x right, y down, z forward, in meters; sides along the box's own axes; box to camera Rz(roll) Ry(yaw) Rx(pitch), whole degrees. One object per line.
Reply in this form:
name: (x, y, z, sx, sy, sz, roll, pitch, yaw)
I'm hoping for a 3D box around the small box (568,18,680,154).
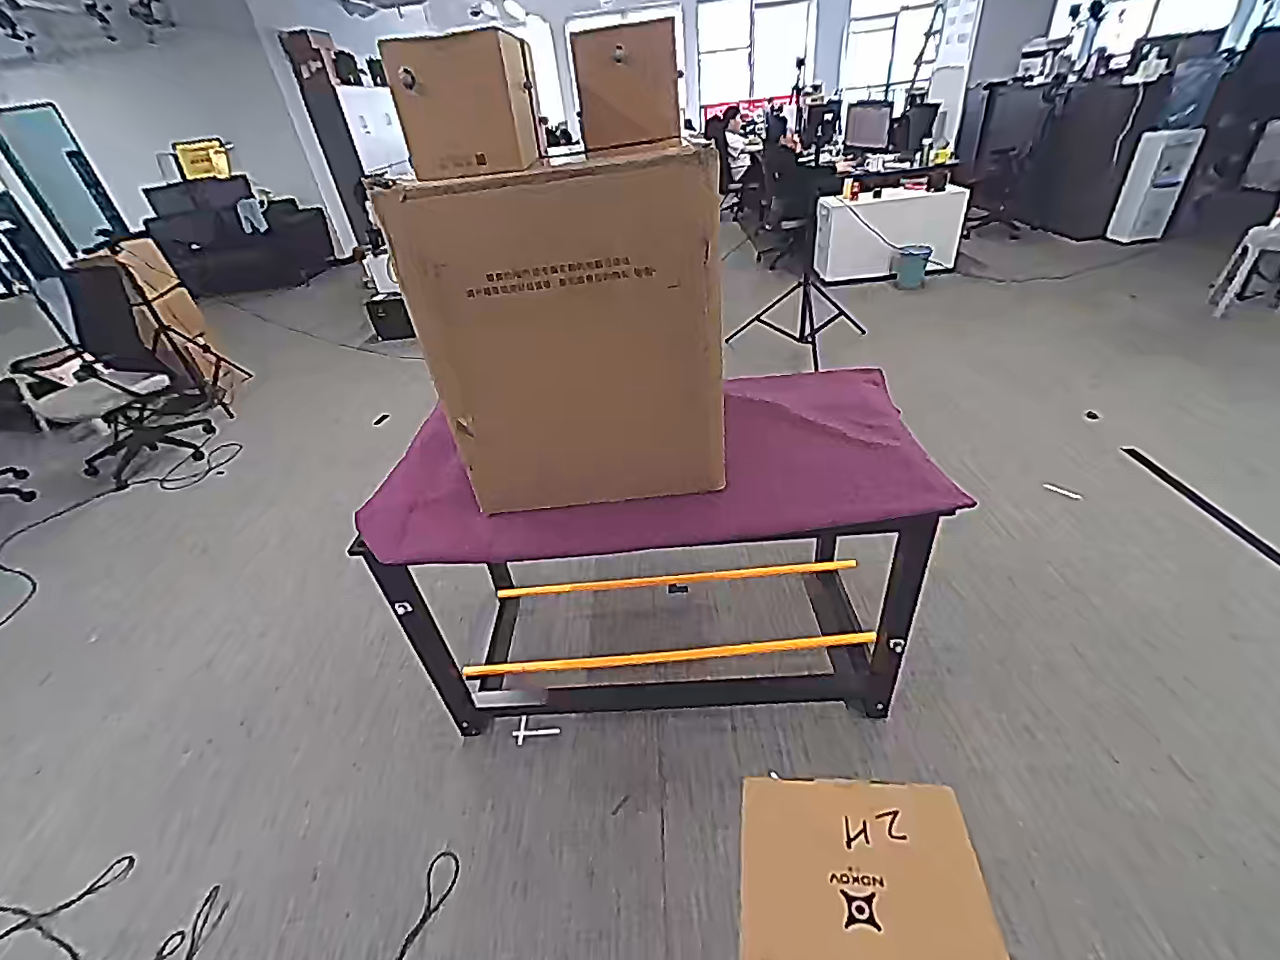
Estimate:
small box: (-0.022, -0.704, 0.974, 0.179, 0.176, 0.168, -7, 35, 3)
